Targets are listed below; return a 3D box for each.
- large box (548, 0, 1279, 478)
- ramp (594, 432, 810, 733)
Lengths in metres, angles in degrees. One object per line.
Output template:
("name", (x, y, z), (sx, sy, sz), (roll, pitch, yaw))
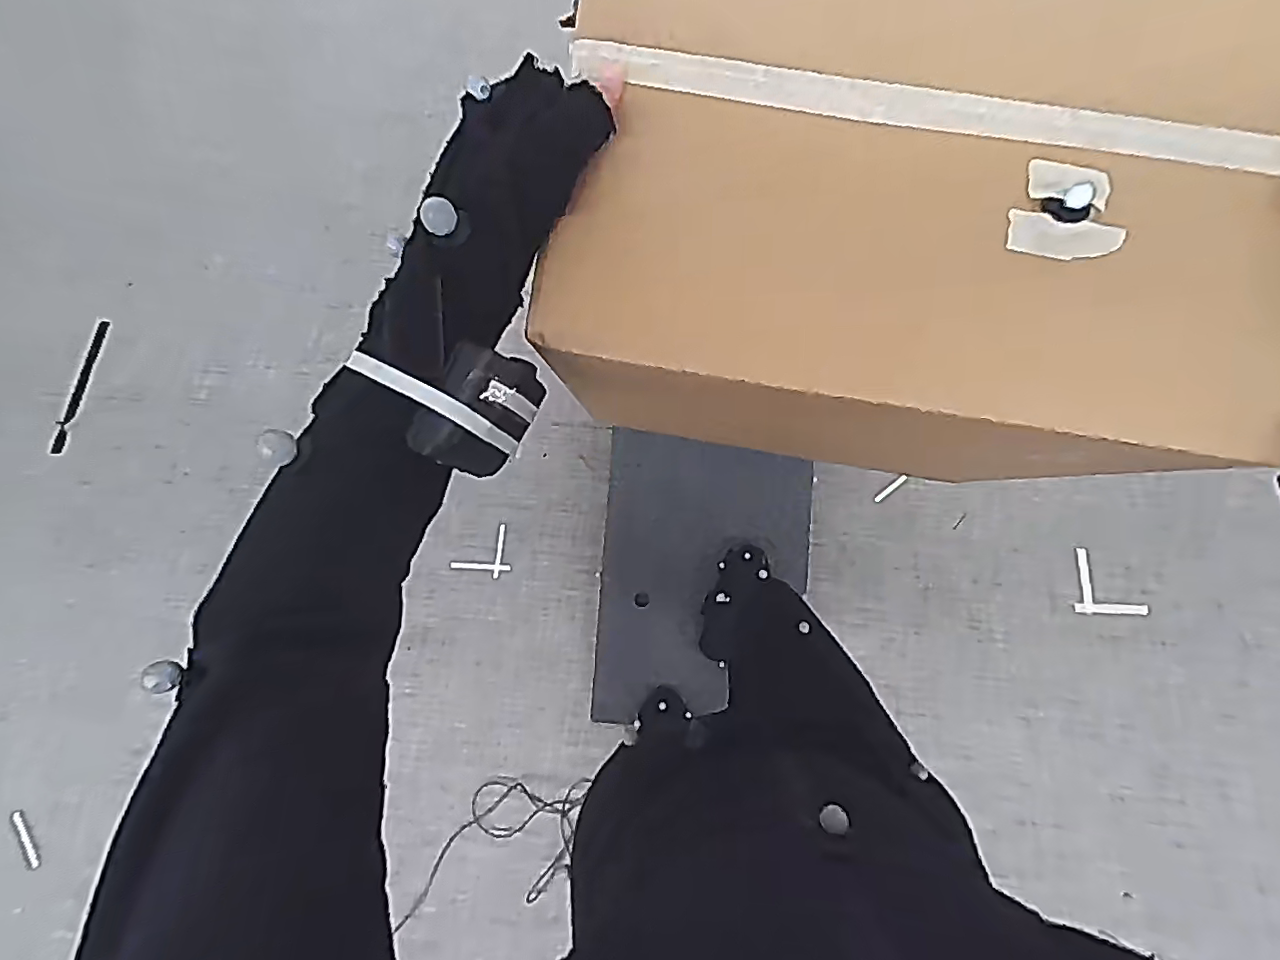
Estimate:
("large box", (0.163, -0.186, 0.460), (0.408, 0.320, 0.320), (9, 89, 1))
("ramp", (0.163, 0.089, 1.311), (0.509, 0.206, 0.991), (2, 77, 1))
